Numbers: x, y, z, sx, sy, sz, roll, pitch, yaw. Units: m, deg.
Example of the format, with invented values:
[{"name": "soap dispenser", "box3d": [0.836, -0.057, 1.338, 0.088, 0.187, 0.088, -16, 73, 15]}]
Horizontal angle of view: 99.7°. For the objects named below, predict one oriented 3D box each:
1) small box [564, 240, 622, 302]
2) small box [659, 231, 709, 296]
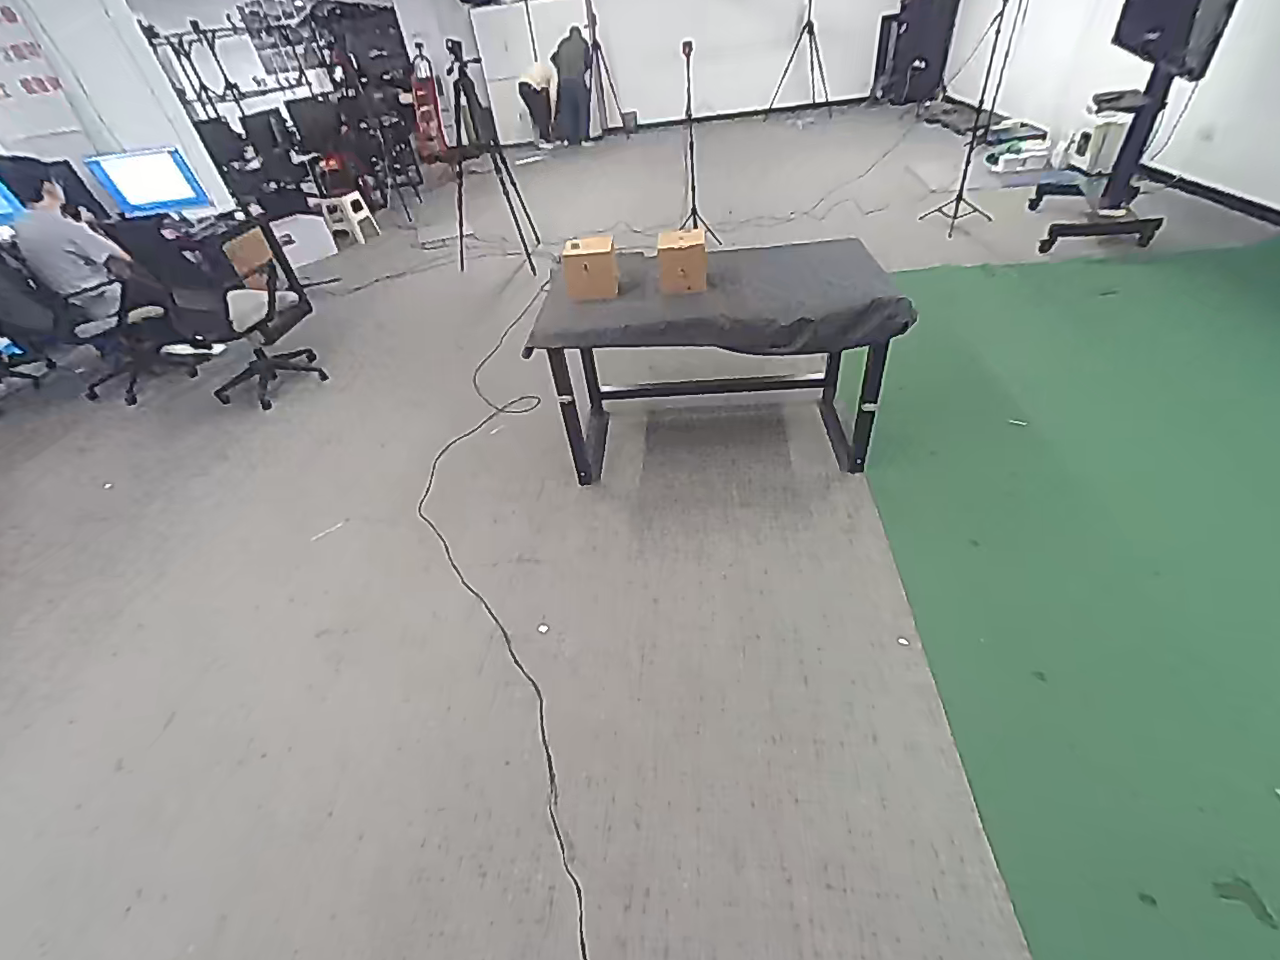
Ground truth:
[{"name": "small box", "box3d": [-0.167, -0.763, 1.978, 0.179, 0.176, 0.168, -3, 41, 4]}, {"name": "small box", "box3d": [0.162, -0.769, 1.935, 0.168, 0.176, 0.179, -2, 41, 7]}]
